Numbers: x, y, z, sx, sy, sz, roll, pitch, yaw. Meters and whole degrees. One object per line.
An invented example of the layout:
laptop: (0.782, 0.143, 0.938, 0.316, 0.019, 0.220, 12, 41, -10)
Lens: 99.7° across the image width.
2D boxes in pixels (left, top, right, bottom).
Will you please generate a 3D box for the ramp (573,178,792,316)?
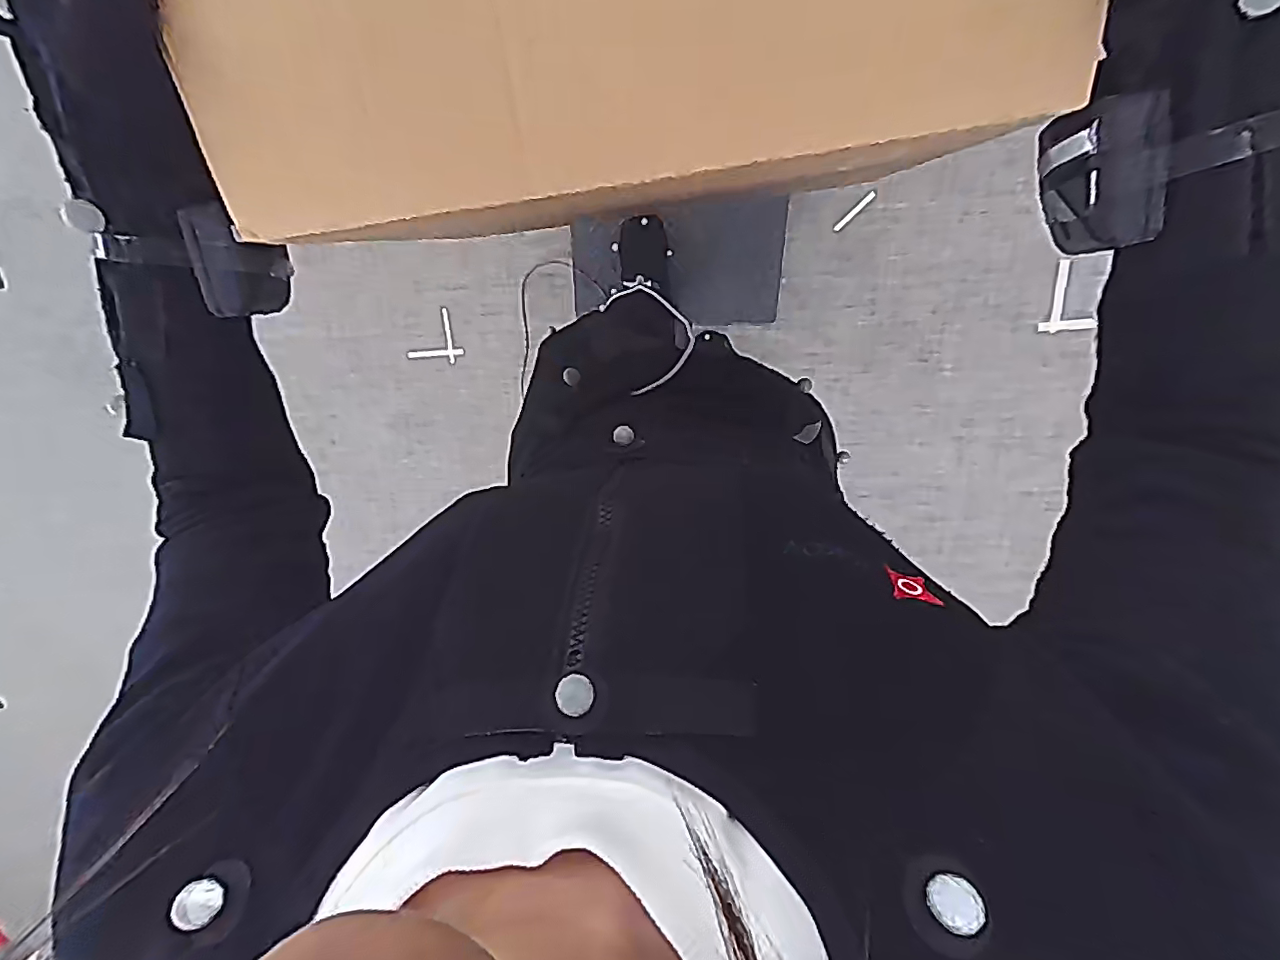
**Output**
ramp: (0.083, -0.835, 1.081, 0.509, 0.206, 0.991, 0, 111, 5)

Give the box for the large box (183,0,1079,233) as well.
large box: (-0.015, -0.355, 0.343, 0.408, 0.320, 0.320, -4, 114, 9)
